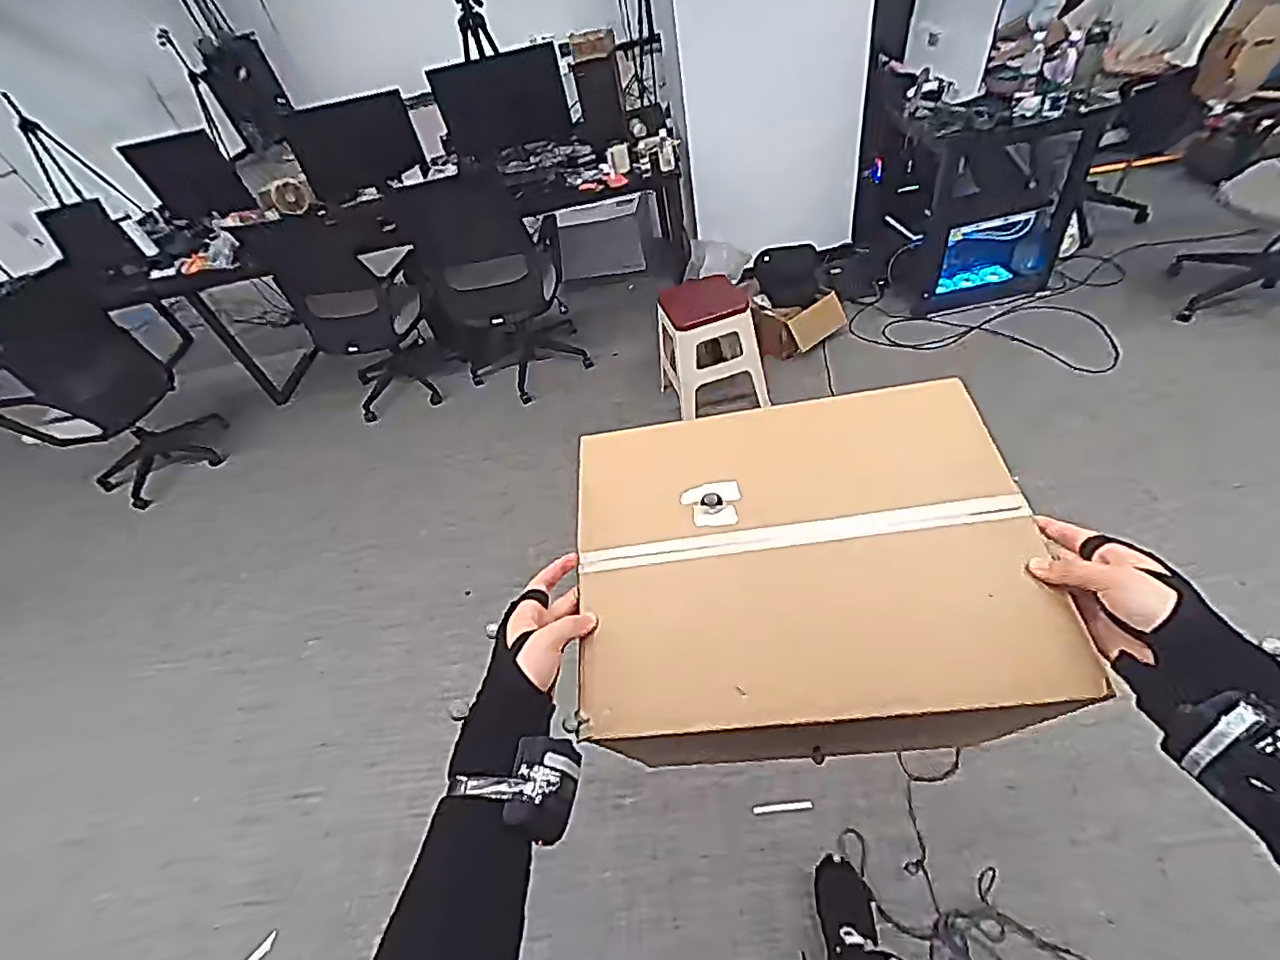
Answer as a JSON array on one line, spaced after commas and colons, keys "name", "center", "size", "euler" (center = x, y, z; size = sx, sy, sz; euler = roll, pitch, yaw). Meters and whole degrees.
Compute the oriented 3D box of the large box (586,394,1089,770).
[{"name": "large box", "center": [0.173, 0.145, 0.640], "size": [0.408, 0.320, 0.320], "euler": [-9, 56, 8]}]
